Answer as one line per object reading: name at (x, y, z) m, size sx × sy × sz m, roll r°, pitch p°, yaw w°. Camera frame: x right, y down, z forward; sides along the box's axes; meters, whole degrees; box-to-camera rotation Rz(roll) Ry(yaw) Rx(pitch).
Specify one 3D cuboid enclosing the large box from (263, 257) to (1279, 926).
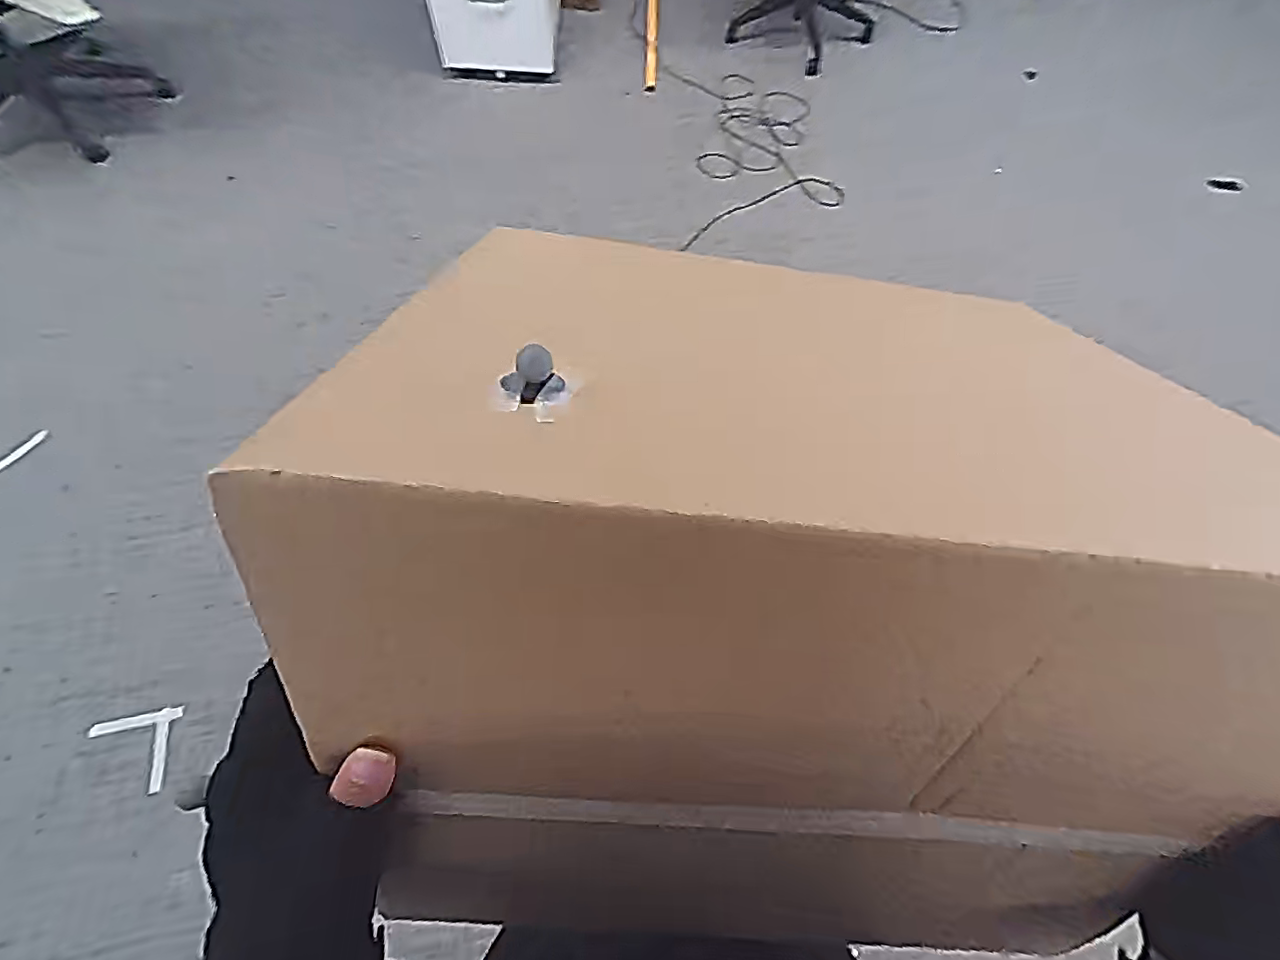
large box at (0.071, 0.056, 0.368) m, size 0.408 × 0.320 × 0.320 m, roll 5°, pitch 35°, yaw -4°
